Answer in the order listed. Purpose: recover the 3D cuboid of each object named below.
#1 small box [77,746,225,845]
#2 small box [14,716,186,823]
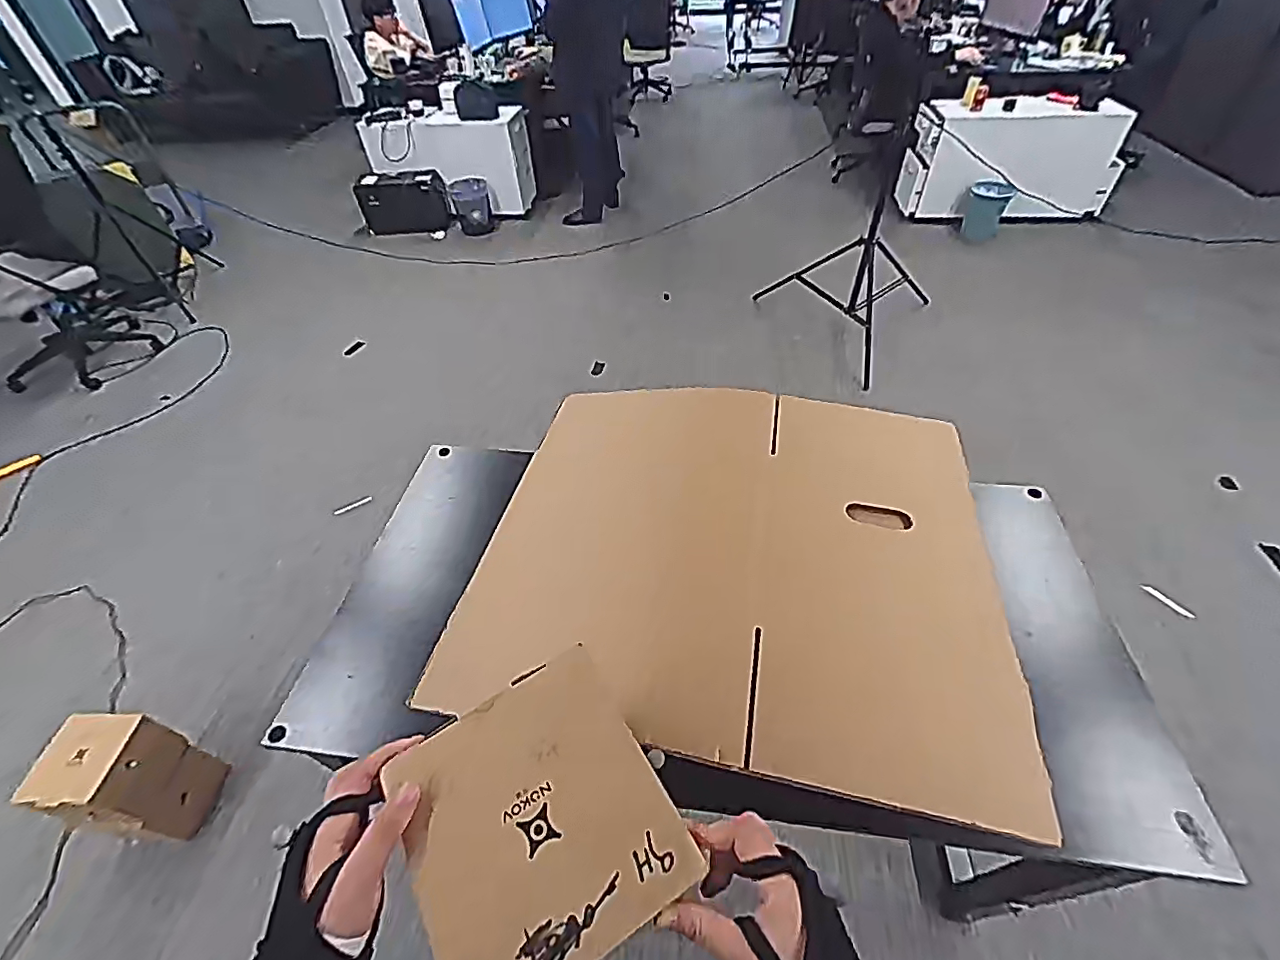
[{"bbox_3d":[-1.156,0.755,1.302,0.168,0.176,0.179,1,47,4],"label":"small box"},{"bbox_3d":[-1.164,0.639,1.188,0.168,0.176,0.179,-1,45,1],"label":"small box"}]
